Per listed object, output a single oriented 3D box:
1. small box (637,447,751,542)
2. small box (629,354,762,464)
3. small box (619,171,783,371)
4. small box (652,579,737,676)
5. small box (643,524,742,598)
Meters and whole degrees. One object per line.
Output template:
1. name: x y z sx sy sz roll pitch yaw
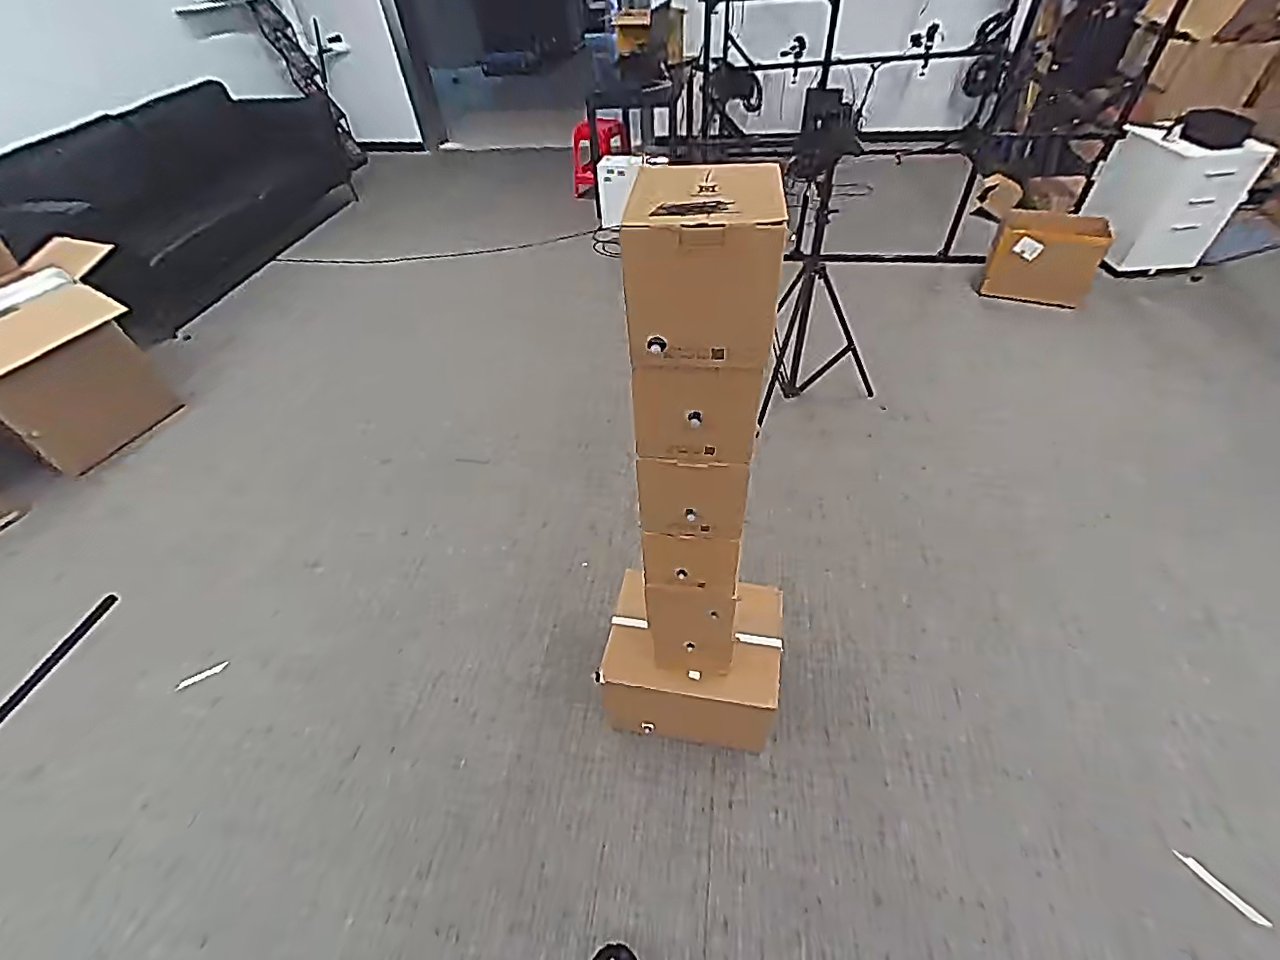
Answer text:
1. small box: 0.091 -0.022 0.884 0.168 0.176 0.179 3 48 8
2. small box: 0.083 -0.139 0.769 0.168 0.176 0.179 3 48 7
3. small box: 0.075 -0.244 0.642 0.168 0.176 0.179 3 47 7
4. small box: 0.125 0.328 1.227 0.179 0.176 0.168 4 48 7
5. small box: 0.100 0.094 1.000 0.168 0.176 0.179 4 48 8
